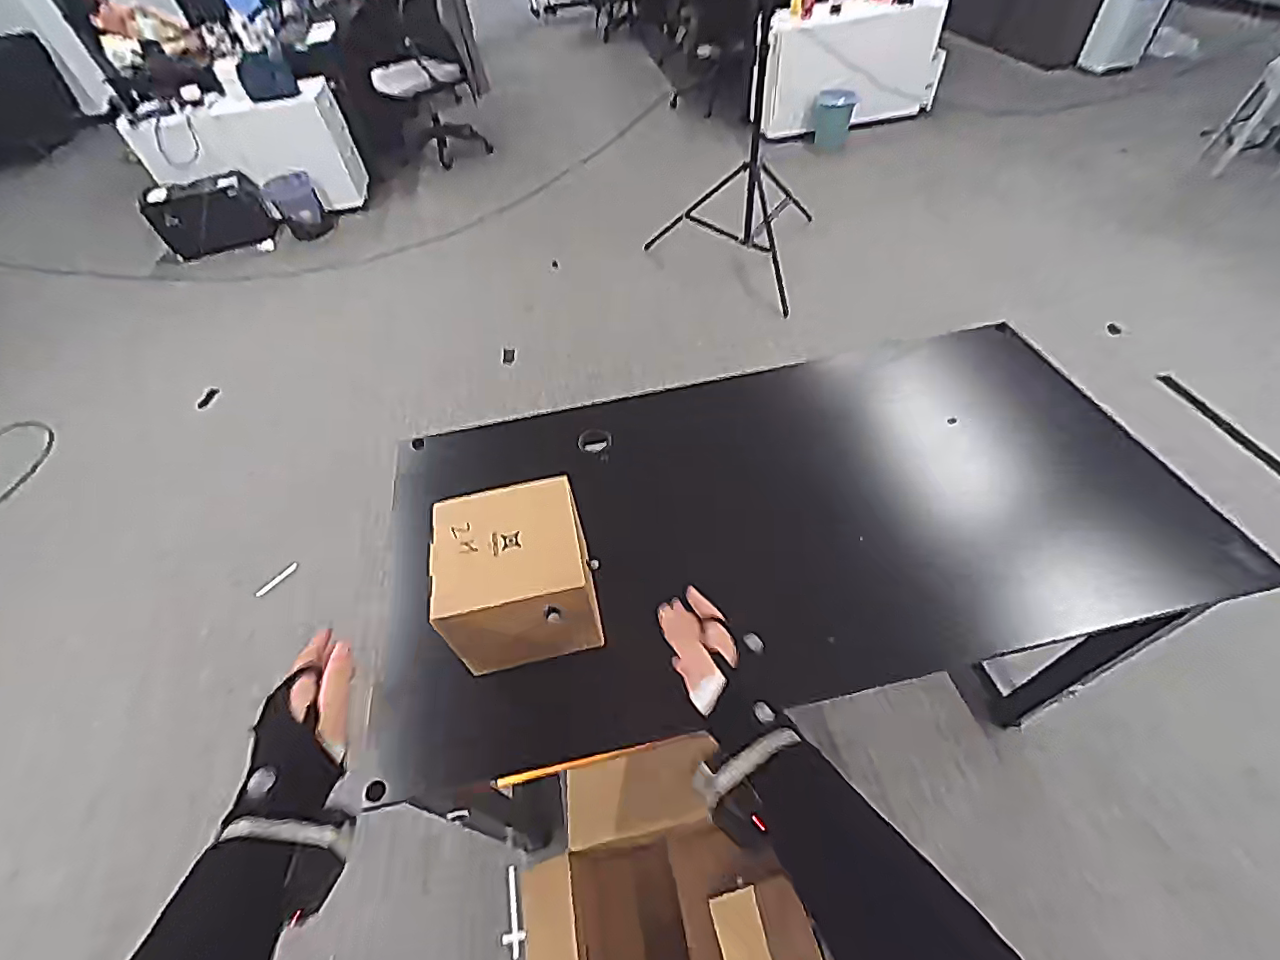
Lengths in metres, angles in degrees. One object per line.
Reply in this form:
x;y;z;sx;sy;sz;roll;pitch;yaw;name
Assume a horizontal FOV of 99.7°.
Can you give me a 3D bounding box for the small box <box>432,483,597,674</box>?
-0.155;0.131;0.710;0.179;0.176;0.168;-12;50;-5;small box
